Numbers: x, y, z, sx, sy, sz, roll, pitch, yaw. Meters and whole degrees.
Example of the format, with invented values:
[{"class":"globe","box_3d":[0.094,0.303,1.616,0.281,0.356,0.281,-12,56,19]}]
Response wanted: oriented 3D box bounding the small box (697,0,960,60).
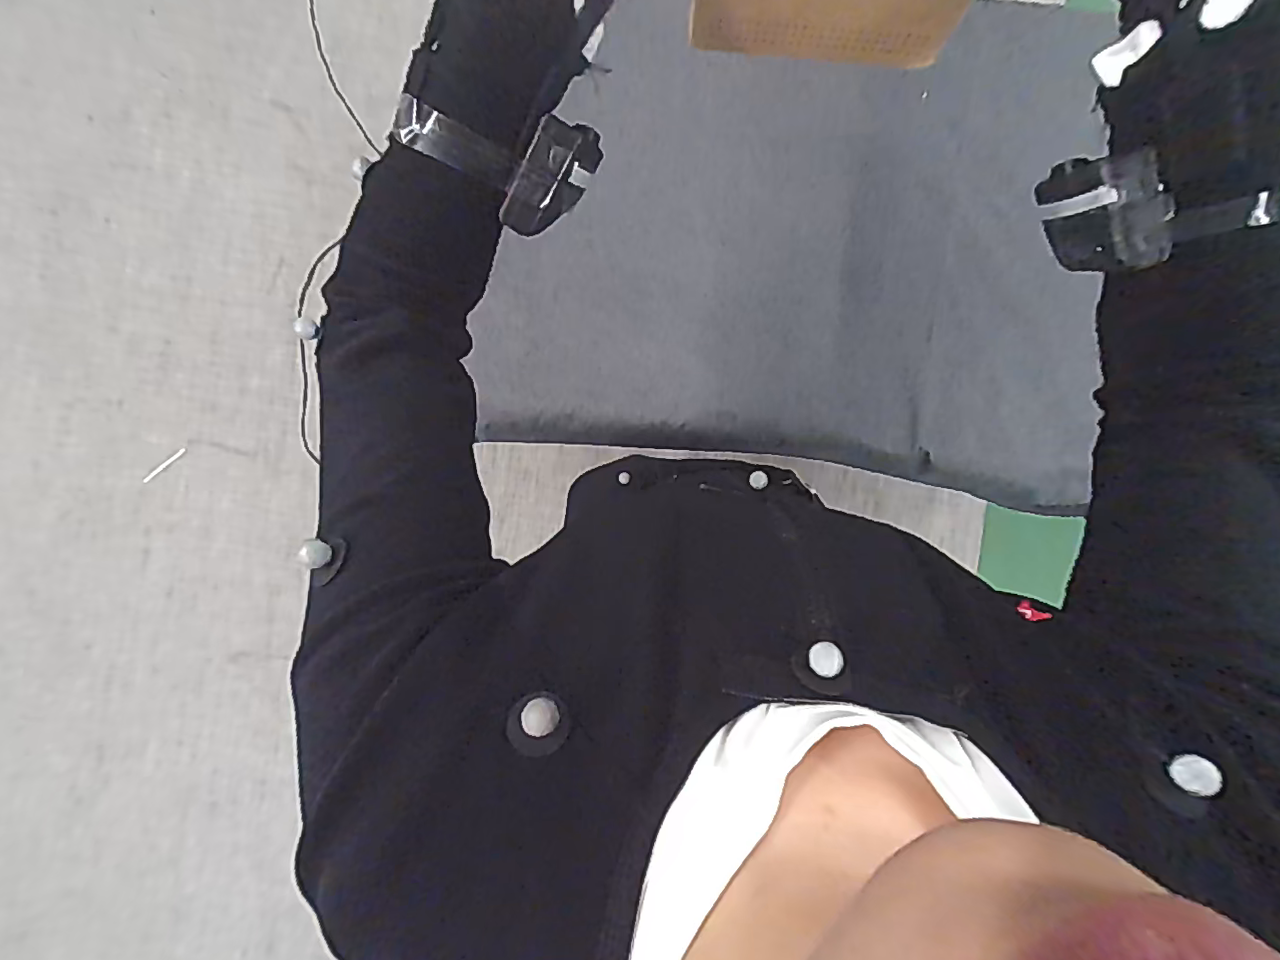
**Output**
[{"class":"small box","box_3d":[0.130,-0.387,0.310,0.179,0.176,0.168,5,89,0]}]
